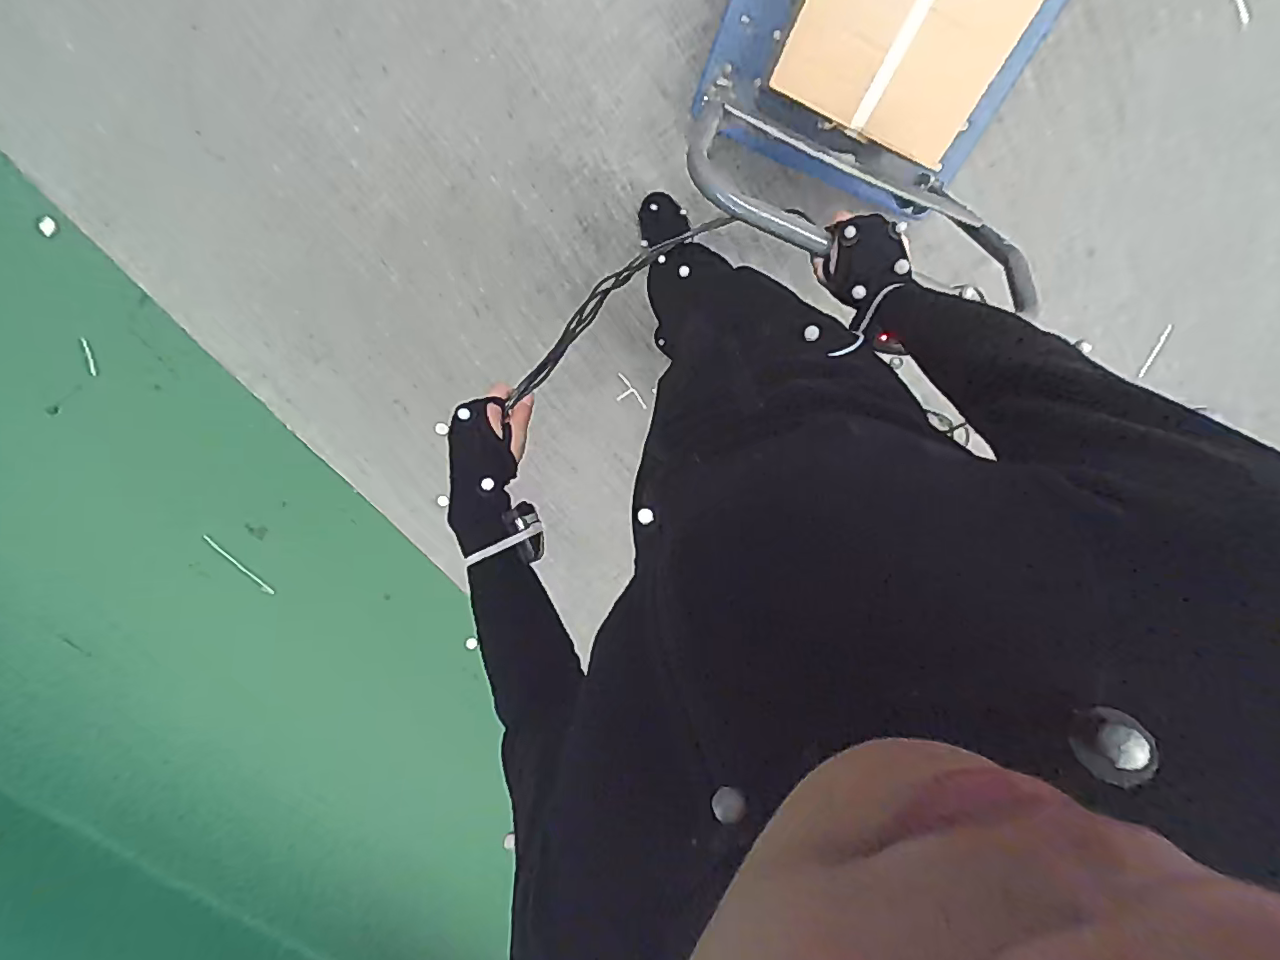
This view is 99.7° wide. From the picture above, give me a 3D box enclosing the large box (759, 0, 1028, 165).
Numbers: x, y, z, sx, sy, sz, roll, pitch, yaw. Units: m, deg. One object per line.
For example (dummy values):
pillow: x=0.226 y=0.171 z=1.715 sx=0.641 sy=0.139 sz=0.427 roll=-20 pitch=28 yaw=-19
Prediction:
large box: x=0.431 y=-0.813 z=0.906 sx=0.320 sy=0.320 sz=0.408 roll=23 pitch=125 yaw=-8
